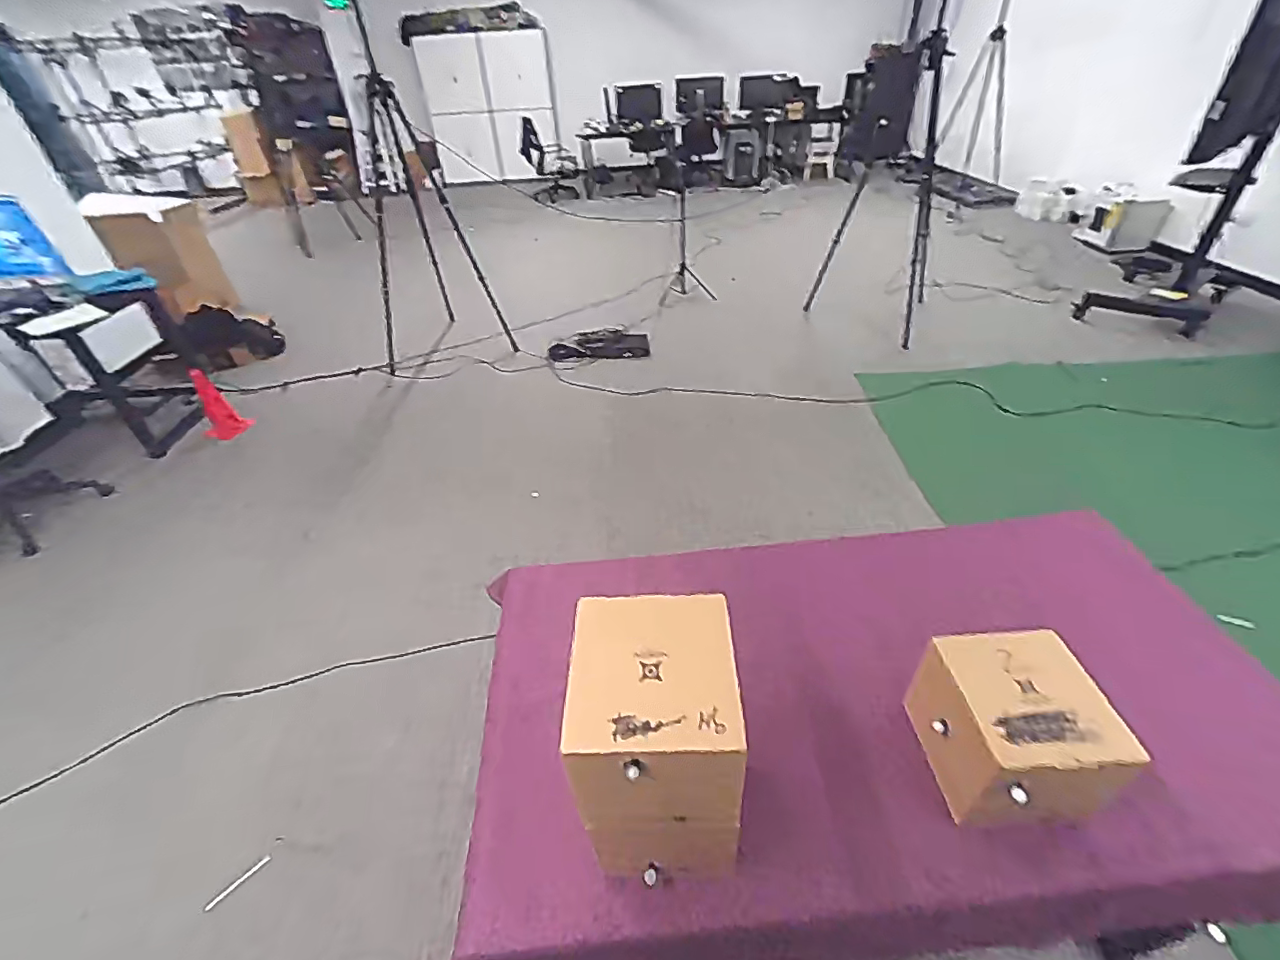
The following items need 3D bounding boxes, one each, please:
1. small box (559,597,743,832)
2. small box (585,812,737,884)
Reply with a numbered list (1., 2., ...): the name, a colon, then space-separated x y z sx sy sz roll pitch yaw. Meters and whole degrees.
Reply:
1. small box: 0.017 0.251 0.587 0.168 0.176 0.179 -4 37 4
2. small box: 0.028 0.381 0.688 0.168 0.176 0.179 -3 38 4
